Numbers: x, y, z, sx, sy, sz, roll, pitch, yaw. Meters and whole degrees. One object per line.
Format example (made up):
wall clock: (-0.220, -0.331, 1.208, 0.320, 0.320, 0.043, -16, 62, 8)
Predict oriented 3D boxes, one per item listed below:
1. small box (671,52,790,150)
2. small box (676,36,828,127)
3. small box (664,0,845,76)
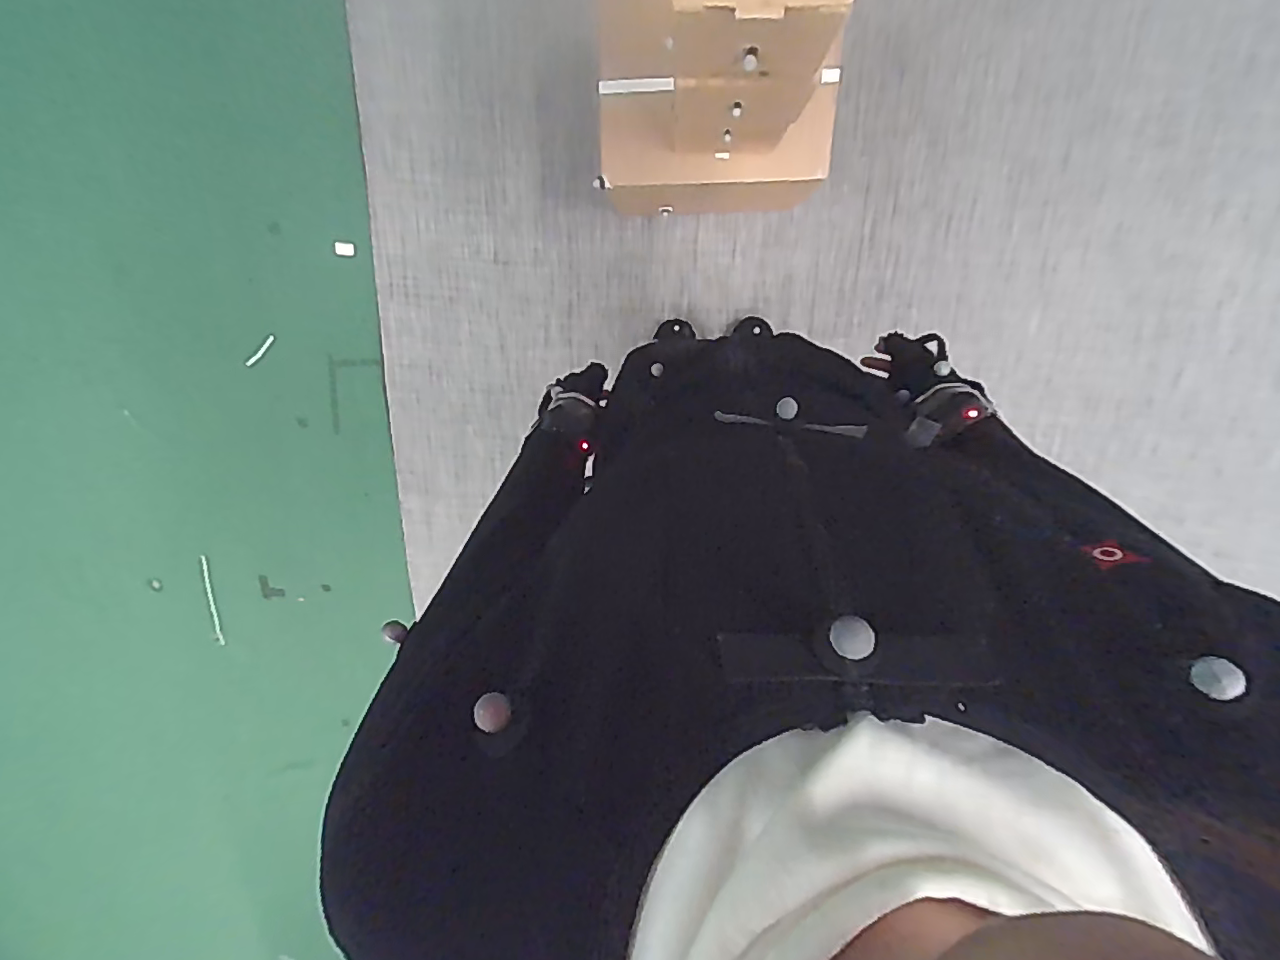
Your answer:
small box: (0.142, -0.632, 0.849, 0.179, 0.176, 0.168, 2, 109, 4)
small box: (0.134, -0.574, 0.695, 0.179, 0.176, 0.168, -1, 109, 5)
small box: (0.118, -0.532, 0.537, 0.168, 0.176, 0.179, 5, 110, 5)
